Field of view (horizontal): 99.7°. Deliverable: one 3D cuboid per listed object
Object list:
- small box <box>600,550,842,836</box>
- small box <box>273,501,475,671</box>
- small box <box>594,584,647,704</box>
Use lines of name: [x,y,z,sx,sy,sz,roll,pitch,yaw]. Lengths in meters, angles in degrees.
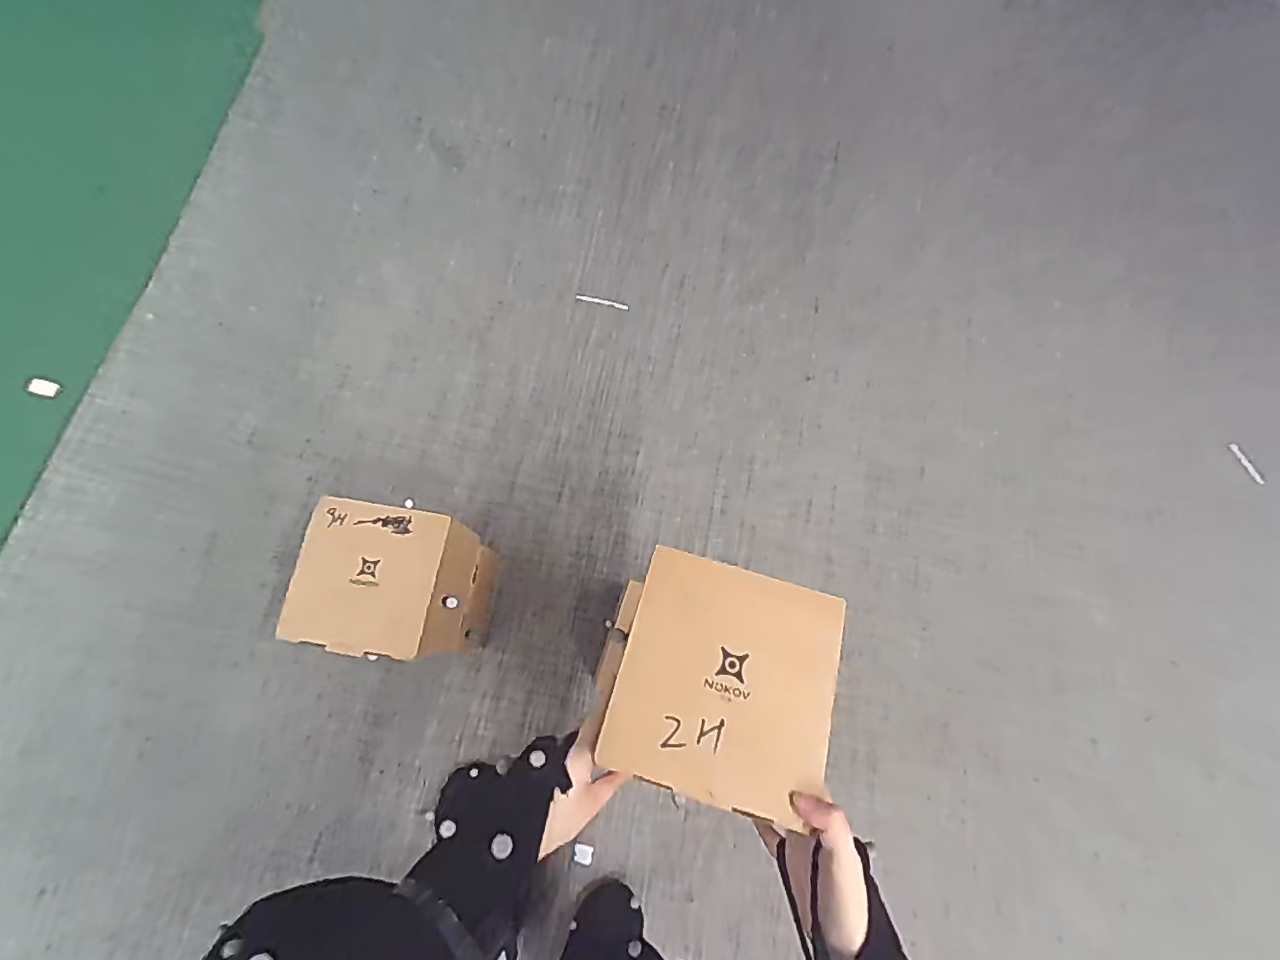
small box: [0.064,0.190,0.496,0.168,0.176,0.179,16,65,4]
small box: [-0.330,0.140,0.712,0.168,0.176,0.179,10,75,-3]
small box: [0.026,0.282,0.879,0.168,0.176,0.179,19,76,-1]
